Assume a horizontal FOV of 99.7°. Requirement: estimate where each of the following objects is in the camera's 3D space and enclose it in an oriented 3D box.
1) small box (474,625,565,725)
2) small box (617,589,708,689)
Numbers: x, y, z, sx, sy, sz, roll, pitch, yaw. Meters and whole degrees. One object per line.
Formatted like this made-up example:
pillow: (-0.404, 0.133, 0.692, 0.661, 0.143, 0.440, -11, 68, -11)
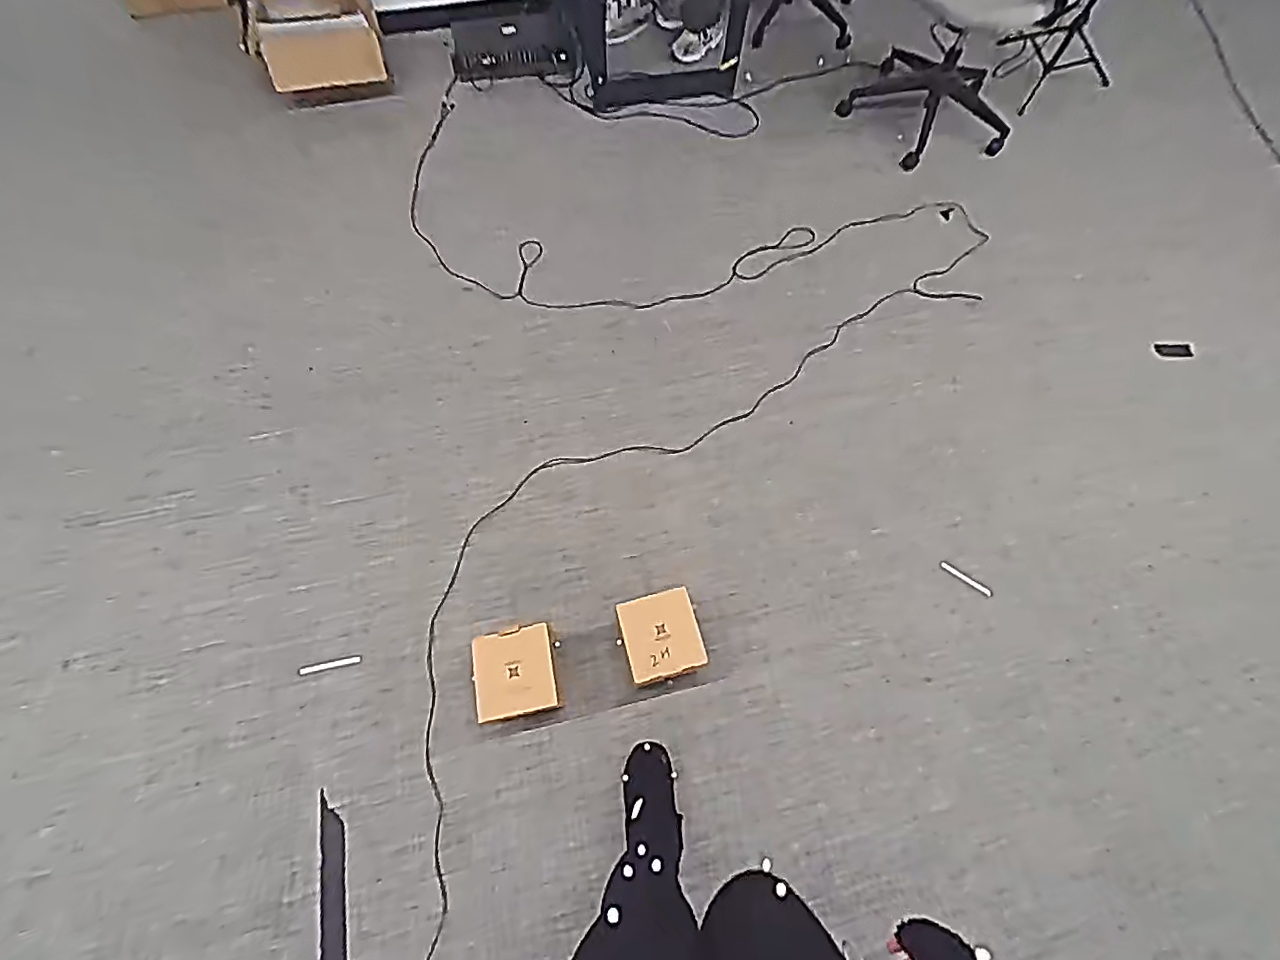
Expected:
small box: (-0.267, 0.441, 1.214, 0.168, 0.176, 0.179, -11, 68, -6)
small box: (0.044, 0.372, 1.253, 0.168, 0.176, 0.179, -14, 68, -7)
